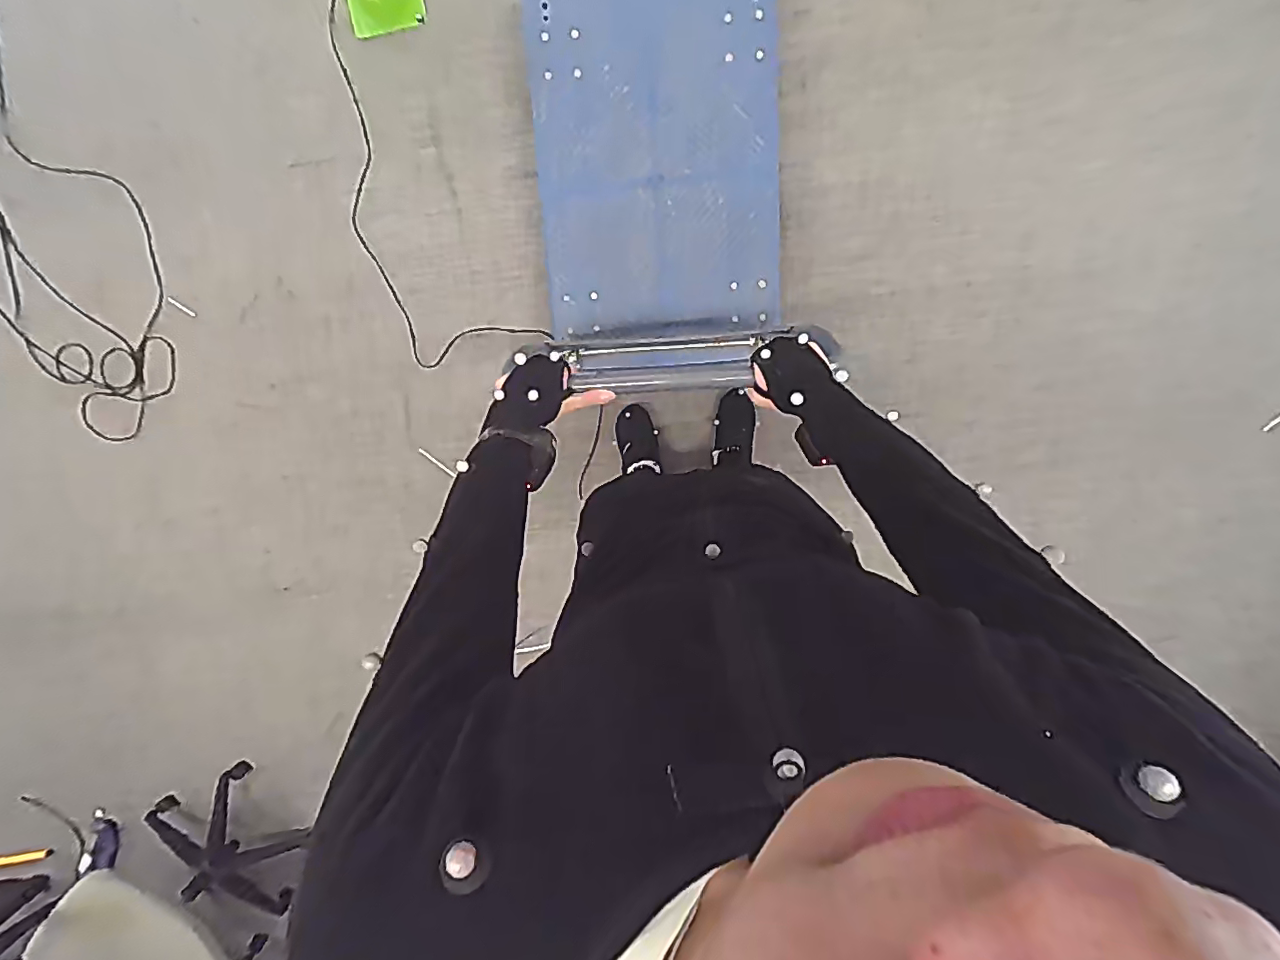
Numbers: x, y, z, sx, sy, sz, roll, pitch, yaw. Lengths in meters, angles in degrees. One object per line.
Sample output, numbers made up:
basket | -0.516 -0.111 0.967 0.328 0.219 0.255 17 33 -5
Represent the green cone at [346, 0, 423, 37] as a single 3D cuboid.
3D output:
green cone | -0.683 -1.233 1.220 0.202 0.368 0.200 -8 101 7
